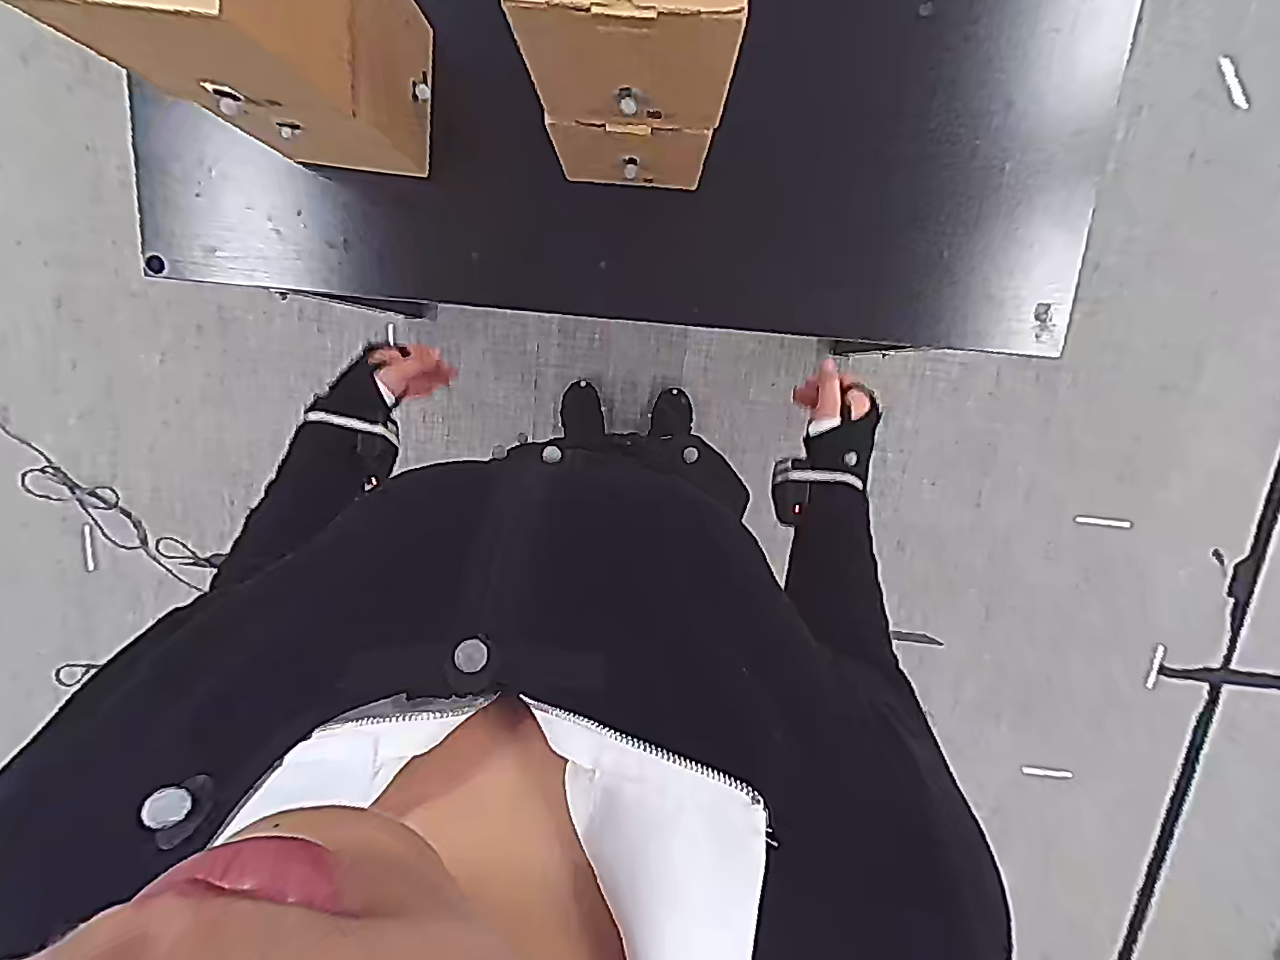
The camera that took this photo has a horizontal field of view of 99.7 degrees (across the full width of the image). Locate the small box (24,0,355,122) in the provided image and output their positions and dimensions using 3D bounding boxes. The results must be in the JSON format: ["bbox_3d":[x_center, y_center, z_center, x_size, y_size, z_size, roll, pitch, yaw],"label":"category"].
[{"bbox_3d":[-0.349,-0.423,0.429,0.168,0.176,0.179,6,102,1],"label":"small box"}]

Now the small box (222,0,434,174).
[{"bbox_3d":[-0.345,-0.456,0.588,0.179,0.176,0.168,6,101,-2],"label":"small box"}]

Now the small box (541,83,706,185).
[{"bbox_3d":[-0.008,-0.442,0.589,0.168,0.176,0.179,4,101,0],"label":"small box"}]

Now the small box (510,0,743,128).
[{"bbox_3d":[-0.006,-0.416,0.425,0.168,0.176,0.179,4,101,1],"label":"small box"}]
